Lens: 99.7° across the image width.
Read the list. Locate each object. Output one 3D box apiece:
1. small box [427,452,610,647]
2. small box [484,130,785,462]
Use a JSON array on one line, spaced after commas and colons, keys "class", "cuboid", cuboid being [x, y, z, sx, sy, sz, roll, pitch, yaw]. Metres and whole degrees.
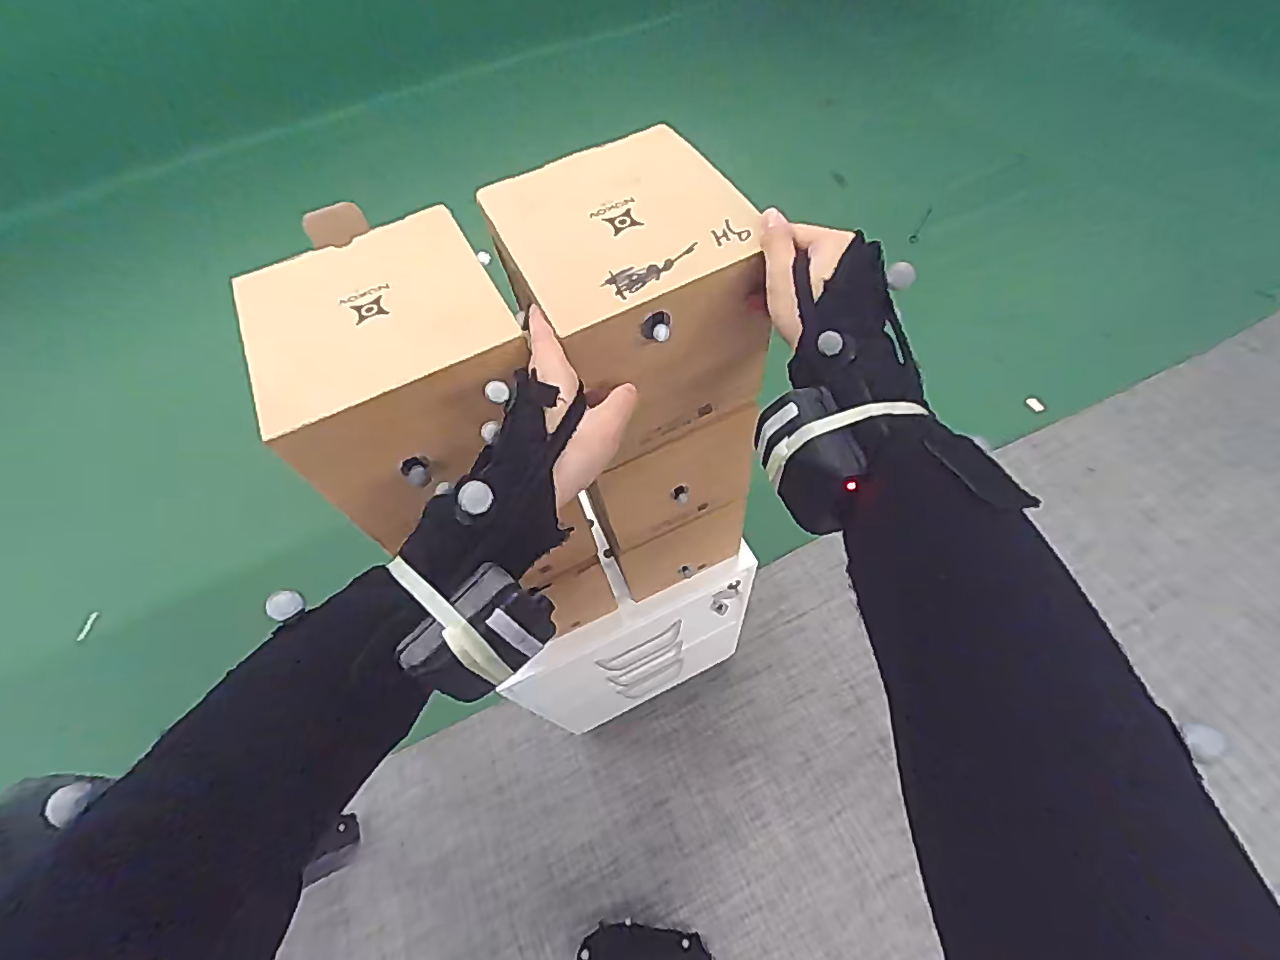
[{"class": "small box", "cuboid": [-0.150, 0.100, 0.706, 0.168, 0.176, 0.179, -23, 59, -10]}, {"class": "small box", "cuboid": [-0.006, -0.147, 0.454, 0.168, 0.176, 0.179, -25, 61, -9]}]
